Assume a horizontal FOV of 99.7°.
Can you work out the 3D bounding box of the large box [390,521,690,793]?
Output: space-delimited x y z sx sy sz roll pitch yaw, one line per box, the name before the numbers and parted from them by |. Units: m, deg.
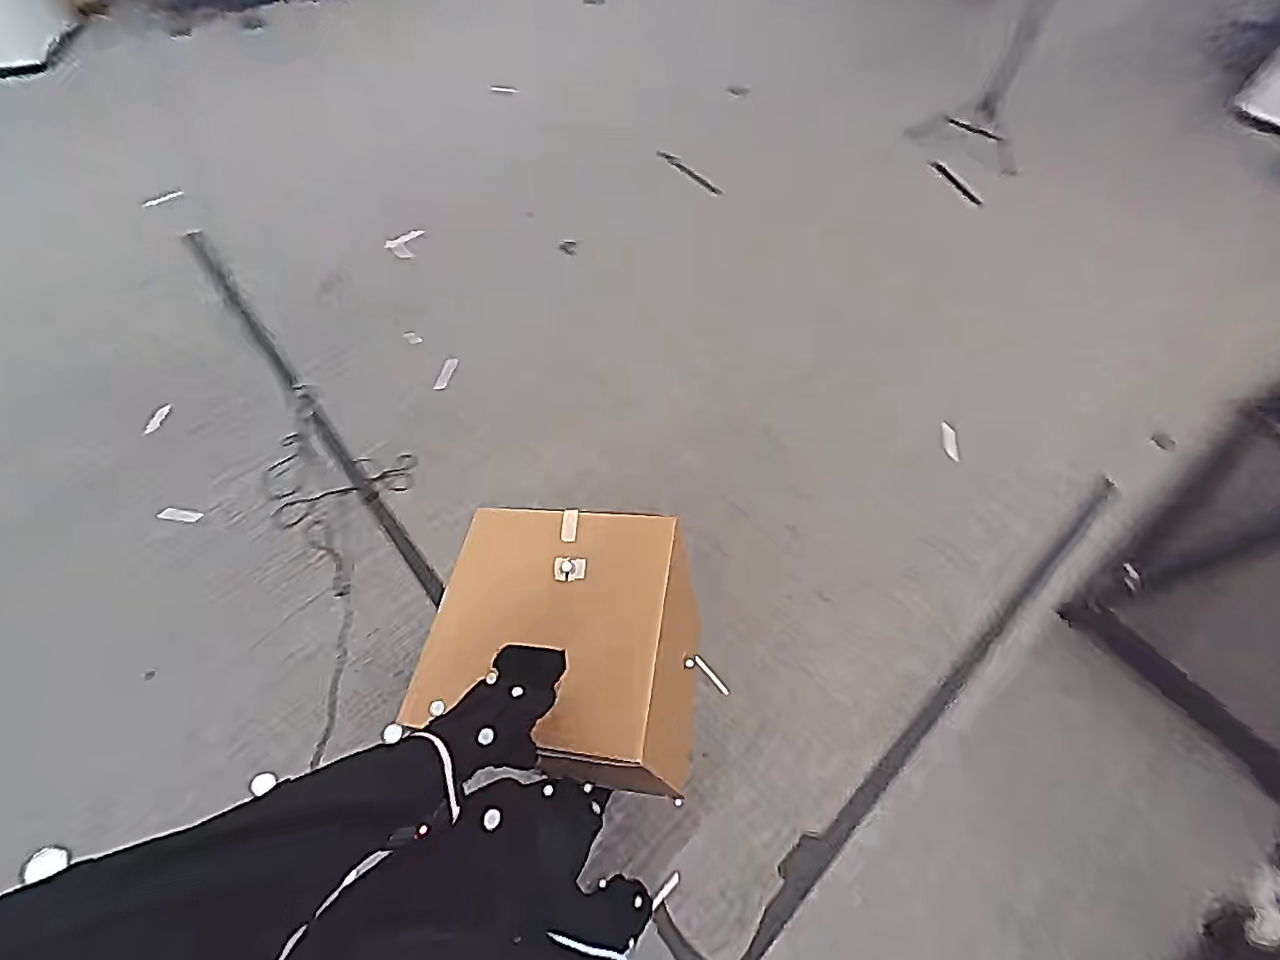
large box | -0.104 0.293 0.865 0.320 0.408 0.320 1 57 14
